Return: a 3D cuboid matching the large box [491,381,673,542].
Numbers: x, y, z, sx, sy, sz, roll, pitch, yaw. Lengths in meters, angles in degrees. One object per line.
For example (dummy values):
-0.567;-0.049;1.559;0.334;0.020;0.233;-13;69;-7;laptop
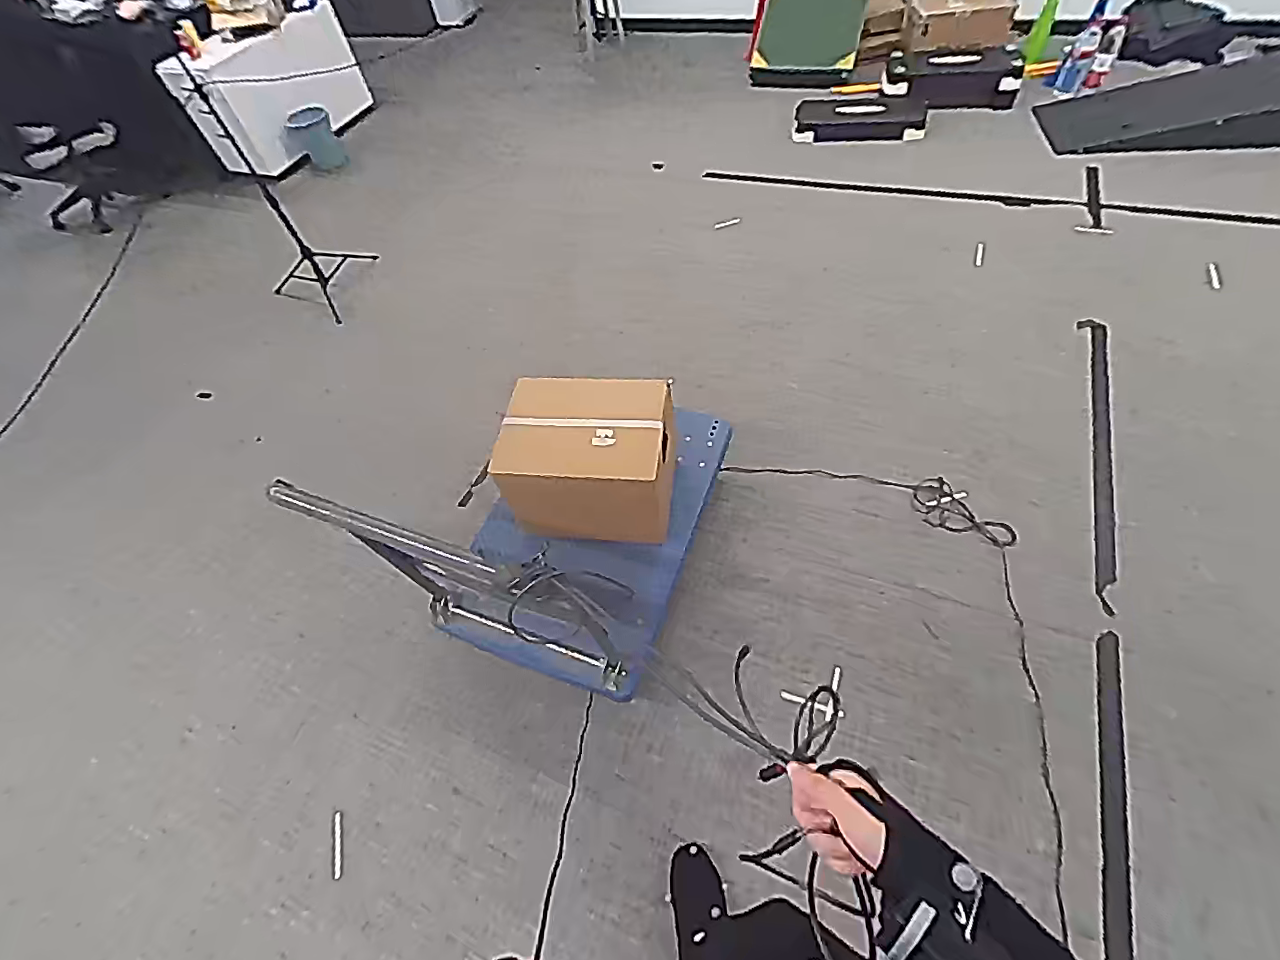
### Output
-0.128;-0.045;1.443;0.408;0.320;0.320;3;57;9;large box
